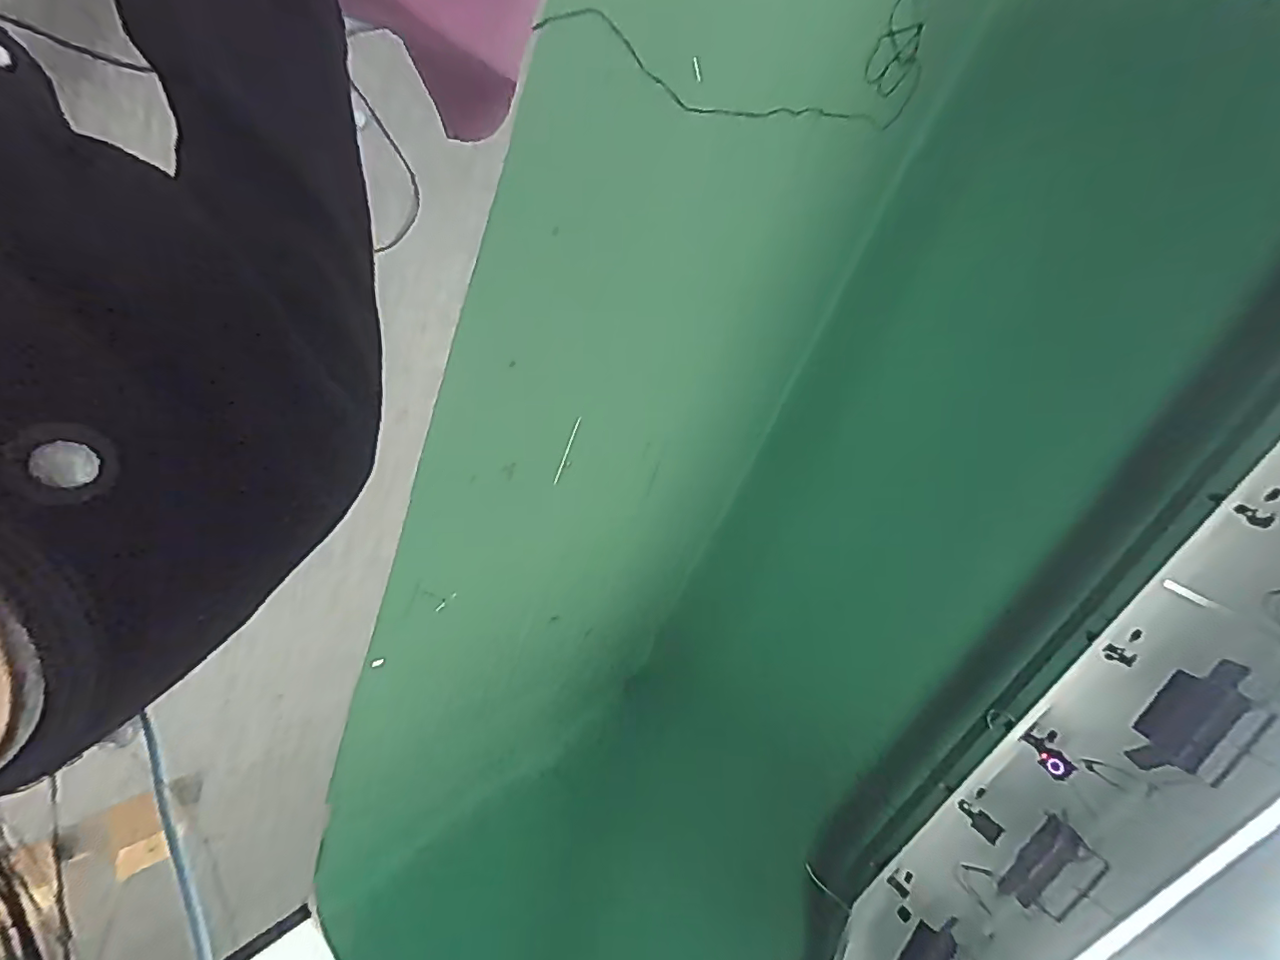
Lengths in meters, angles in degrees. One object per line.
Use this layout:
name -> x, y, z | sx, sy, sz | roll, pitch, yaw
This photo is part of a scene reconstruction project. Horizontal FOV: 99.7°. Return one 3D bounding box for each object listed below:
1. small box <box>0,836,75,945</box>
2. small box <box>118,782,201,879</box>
small box -> -1.801, 1.198, 1.576 | 0.168, 0.176, 0.179 | 5, 116, -60
small box -> -1.628, 1.175, 1.827 | 0.179, 0.176, 0.168 | -11, 130, -55
